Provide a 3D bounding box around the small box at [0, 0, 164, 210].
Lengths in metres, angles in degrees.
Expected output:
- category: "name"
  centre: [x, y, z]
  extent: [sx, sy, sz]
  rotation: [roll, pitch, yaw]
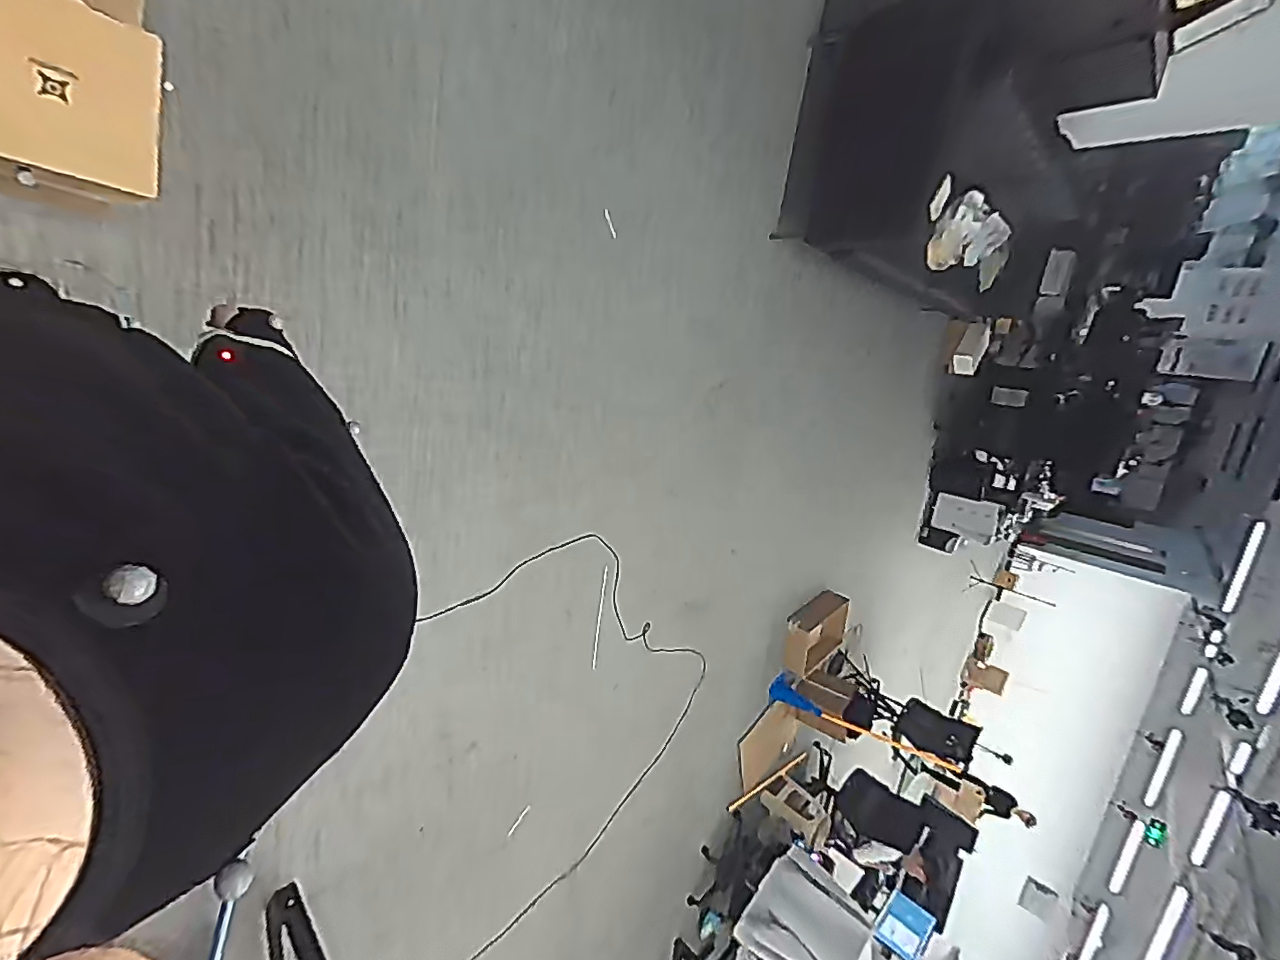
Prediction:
- category: "small box"
  centre: [-0.664, -0.428, 0.619]
  extent: [0.168, 0.176, 0.179]
  rotation: [-1, 105, -47]
